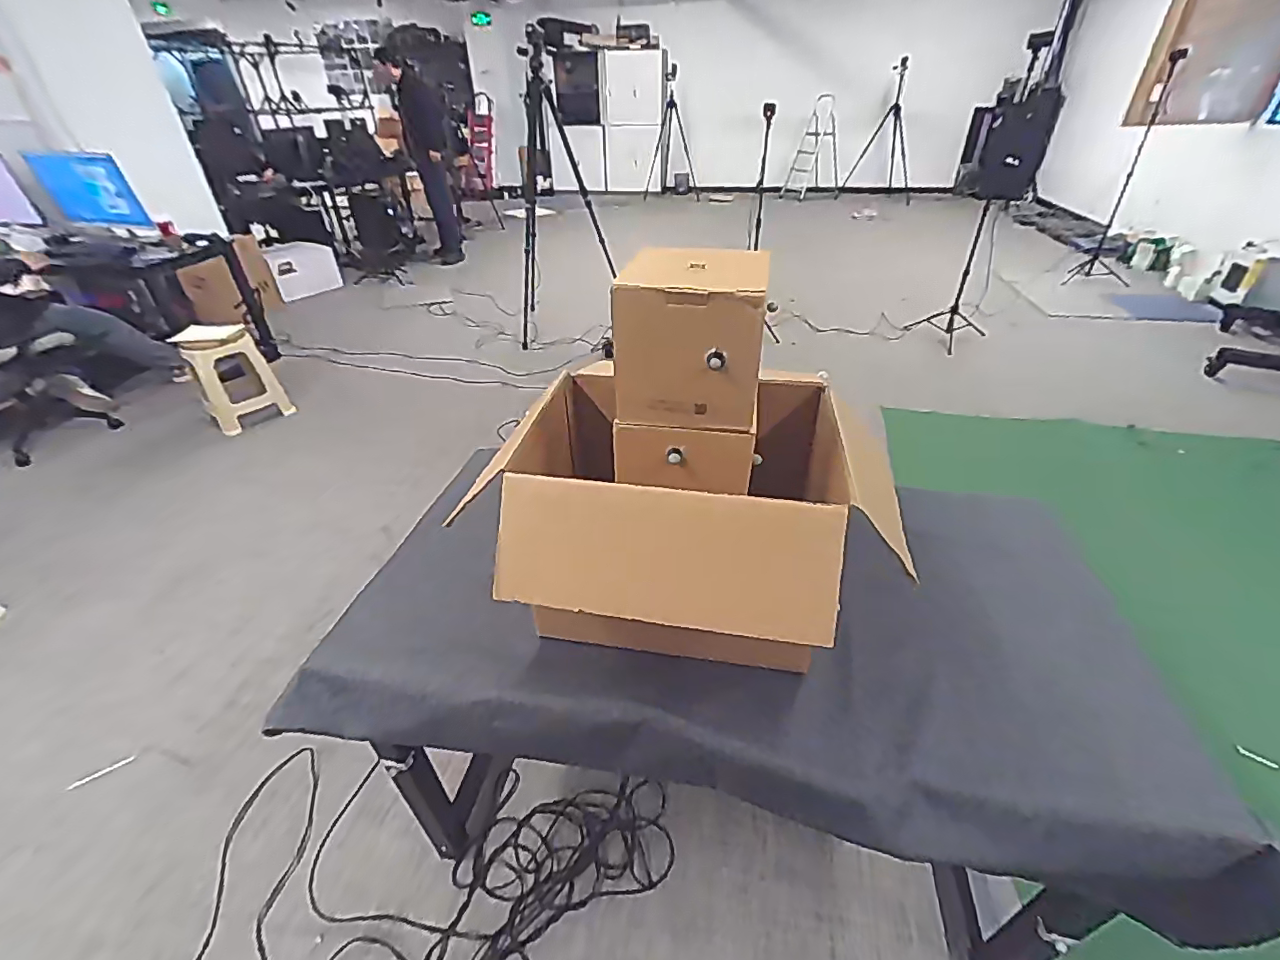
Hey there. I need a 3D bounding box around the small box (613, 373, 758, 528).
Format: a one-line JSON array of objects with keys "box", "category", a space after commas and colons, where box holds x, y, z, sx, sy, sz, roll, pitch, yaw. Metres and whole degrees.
[{"box": [0.067, -0.050, 0.759, 0.179, 0.176, 0.168, 5, 36, 8], "category": "small box"}]

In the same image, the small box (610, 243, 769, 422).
[{"box": [0.066, -0.186, 0.671, 0.168, 0.176, 0.179, 7, 35, 9], "category": "small box"}]
